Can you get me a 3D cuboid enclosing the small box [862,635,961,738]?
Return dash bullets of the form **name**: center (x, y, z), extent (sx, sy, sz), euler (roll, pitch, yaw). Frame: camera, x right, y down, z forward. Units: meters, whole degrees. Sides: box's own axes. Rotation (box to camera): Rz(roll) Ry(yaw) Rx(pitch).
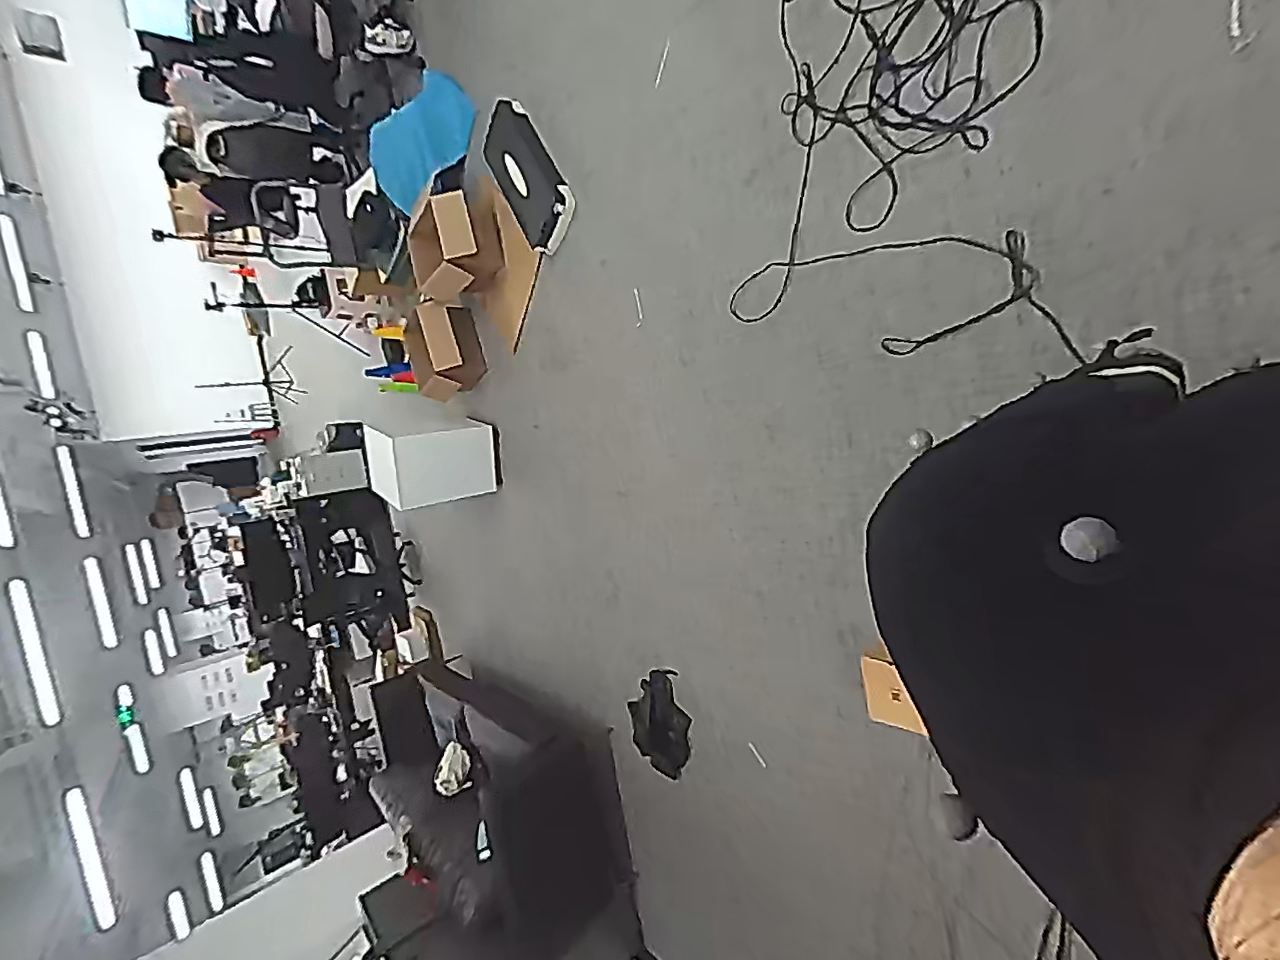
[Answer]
- **small box**: center (0.705, 0.525, 1.398), extent (0.168, 0.176, 0.179), euler (-7, 94, 52)
